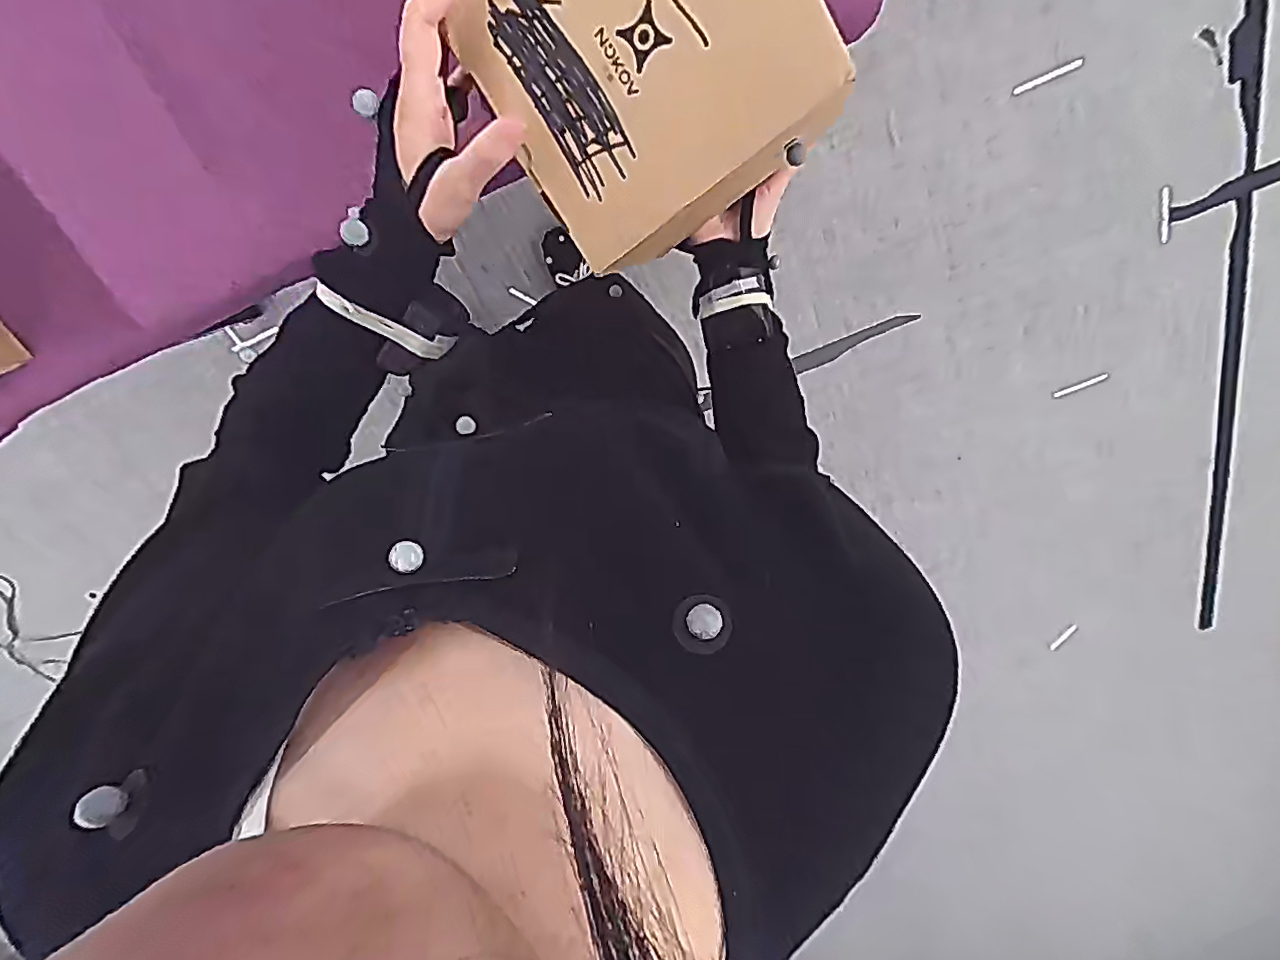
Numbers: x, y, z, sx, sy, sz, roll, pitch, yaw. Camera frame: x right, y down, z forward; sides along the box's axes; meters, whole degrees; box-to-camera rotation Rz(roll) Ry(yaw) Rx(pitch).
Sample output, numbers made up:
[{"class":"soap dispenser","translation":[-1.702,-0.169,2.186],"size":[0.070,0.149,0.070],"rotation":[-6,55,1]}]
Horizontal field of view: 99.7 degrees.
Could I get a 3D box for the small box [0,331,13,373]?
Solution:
[{"class":"small box","translation":[-0.818,-0.148,0.540],"size":[0.179,0.176,0.168],"rotation":[-22,115,5]}]
